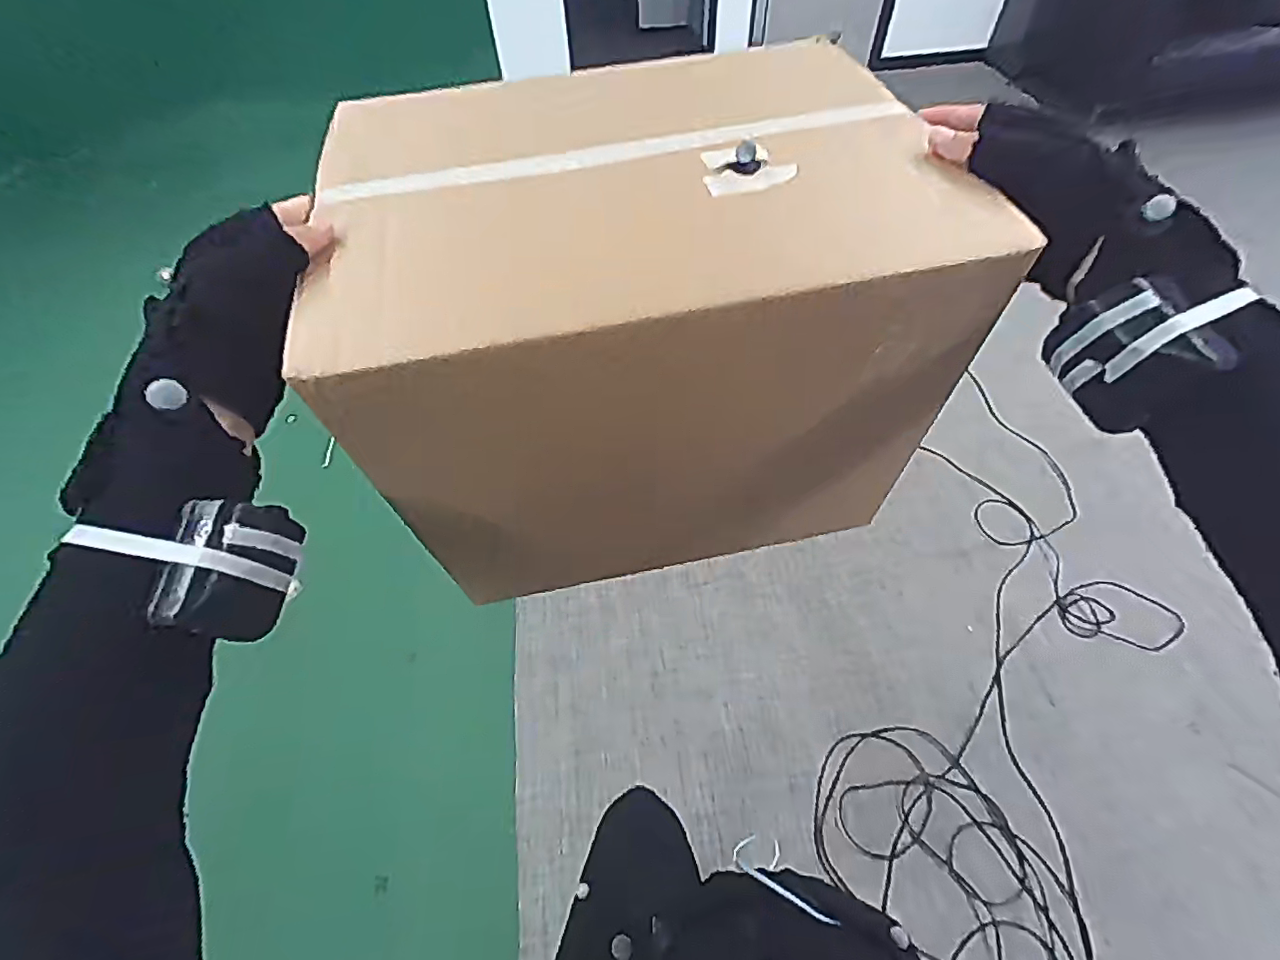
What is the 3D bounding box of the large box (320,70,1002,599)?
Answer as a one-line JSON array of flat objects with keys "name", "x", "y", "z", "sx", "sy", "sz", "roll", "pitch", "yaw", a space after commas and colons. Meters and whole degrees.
[{"name": "large box", "x": -0.004, "y": -0.124, "z": 0.505, "sx": 0.408, "sy": 0.320, "sz": 0.320, "roll": -11, "pitch": 57, "yaw": -5}]
